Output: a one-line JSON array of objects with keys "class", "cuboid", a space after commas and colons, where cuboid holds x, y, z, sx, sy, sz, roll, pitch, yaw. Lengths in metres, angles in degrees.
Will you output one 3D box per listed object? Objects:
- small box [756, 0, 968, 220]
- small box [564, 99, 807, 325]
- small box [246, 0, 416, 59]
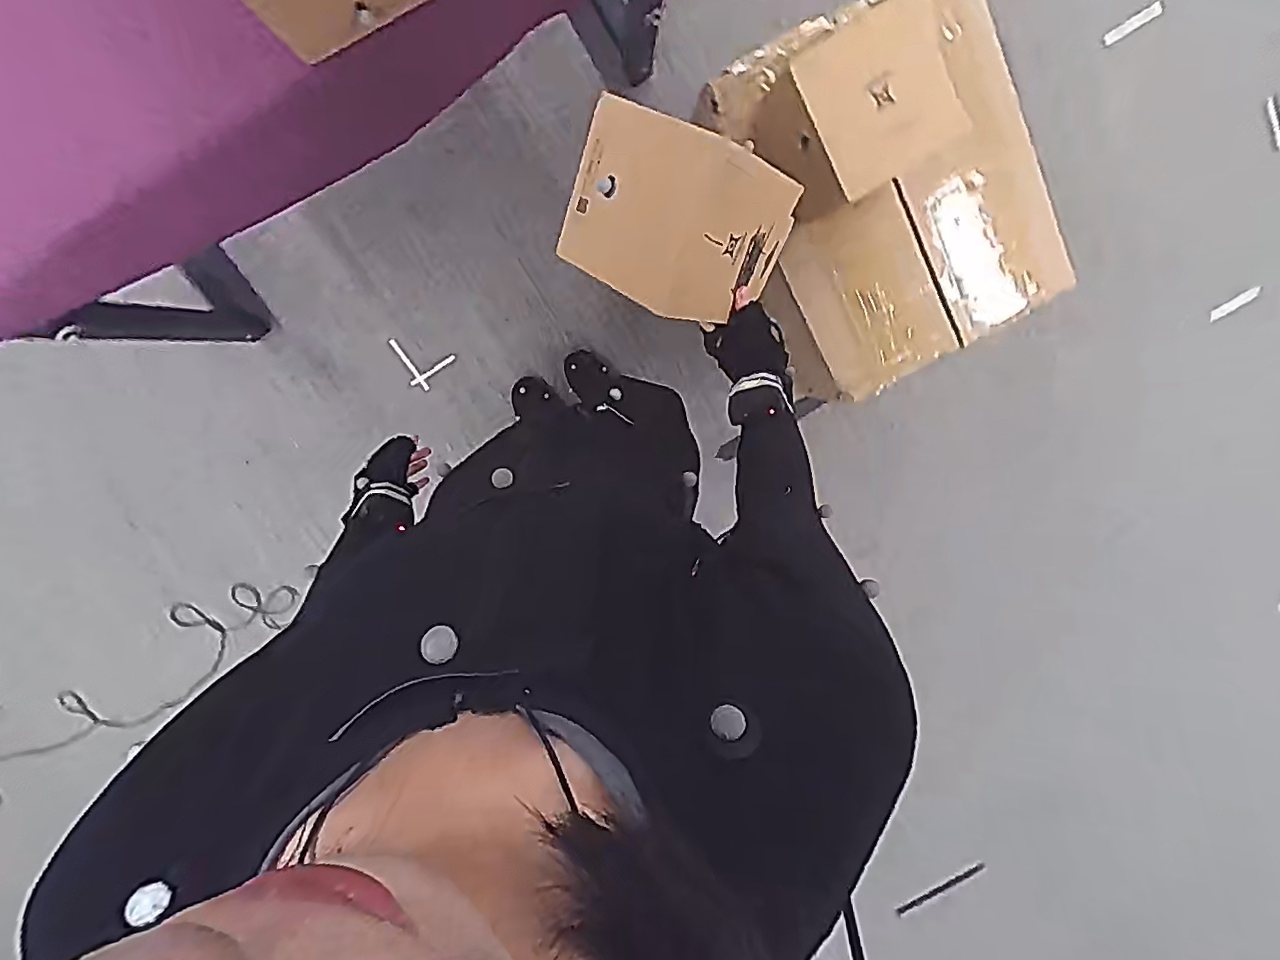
[{"class": "small box", "cuboid": [0.274, -0.473, 0.706, 0.168, 0.176, 0.179, -31, 105, 6]}, {"class": "small box", "cuboid": [0.049, -0.291, 0.607, 0.176, 0.179, 0.168, 38, 119, 26]}, {"class": "small box", "cuboid": [-0.340, -0.575, 0.531, 0.179, 0.176, 0.168, -28, 103, 2]}]
